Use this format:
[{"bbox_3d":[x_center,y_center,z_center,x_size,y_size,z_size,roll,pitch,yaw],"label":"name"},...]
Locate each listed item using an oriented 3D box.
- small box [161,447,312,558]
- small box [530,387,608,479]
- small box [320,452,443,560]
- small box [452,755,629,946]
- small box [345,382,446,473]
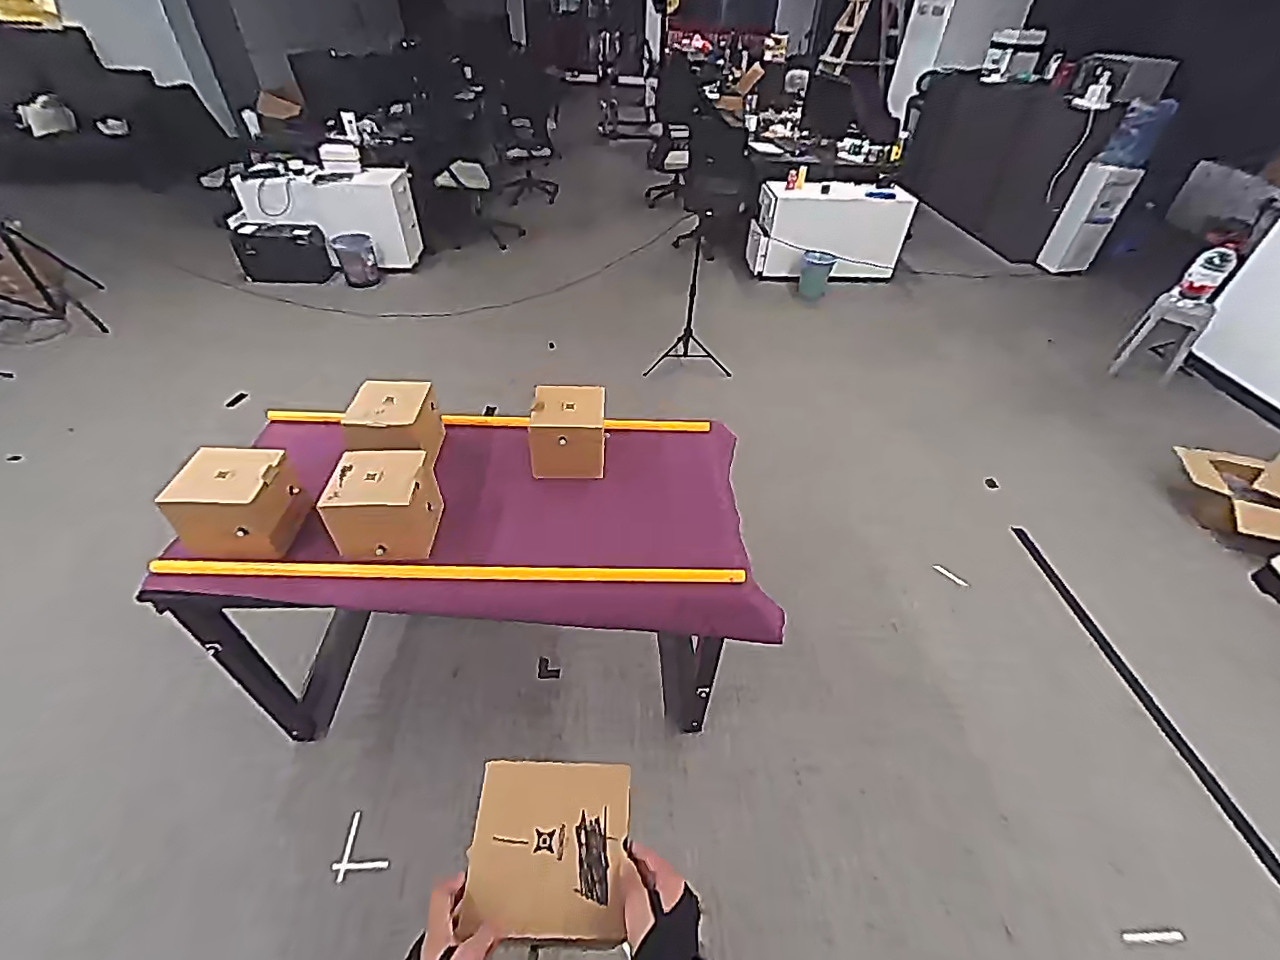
[{"bbox_3d":[-0.829,0.051,1.139,0.179,0.176,0.168,2,42,-5],"label":"small box"},{"bbox_3d":[-0.172,-0.116,1.364,0.179,0.176,0.168,0,44,-2],"label":"small box"},{"bbox_3d":[-0.534,0.058,1.152,0.179,0.176,0.168,0,42,-4],"label":"small box"},{"bbox_3d":[-0.113,0.456,0.662,0.179,0.176,0.168,6,46,-5],"label":"small box"},{"bbox_3d":[-0.595,-0.124,1.345,0.168,0.176,0.179,1,44,-2],"label":"small box"}]
